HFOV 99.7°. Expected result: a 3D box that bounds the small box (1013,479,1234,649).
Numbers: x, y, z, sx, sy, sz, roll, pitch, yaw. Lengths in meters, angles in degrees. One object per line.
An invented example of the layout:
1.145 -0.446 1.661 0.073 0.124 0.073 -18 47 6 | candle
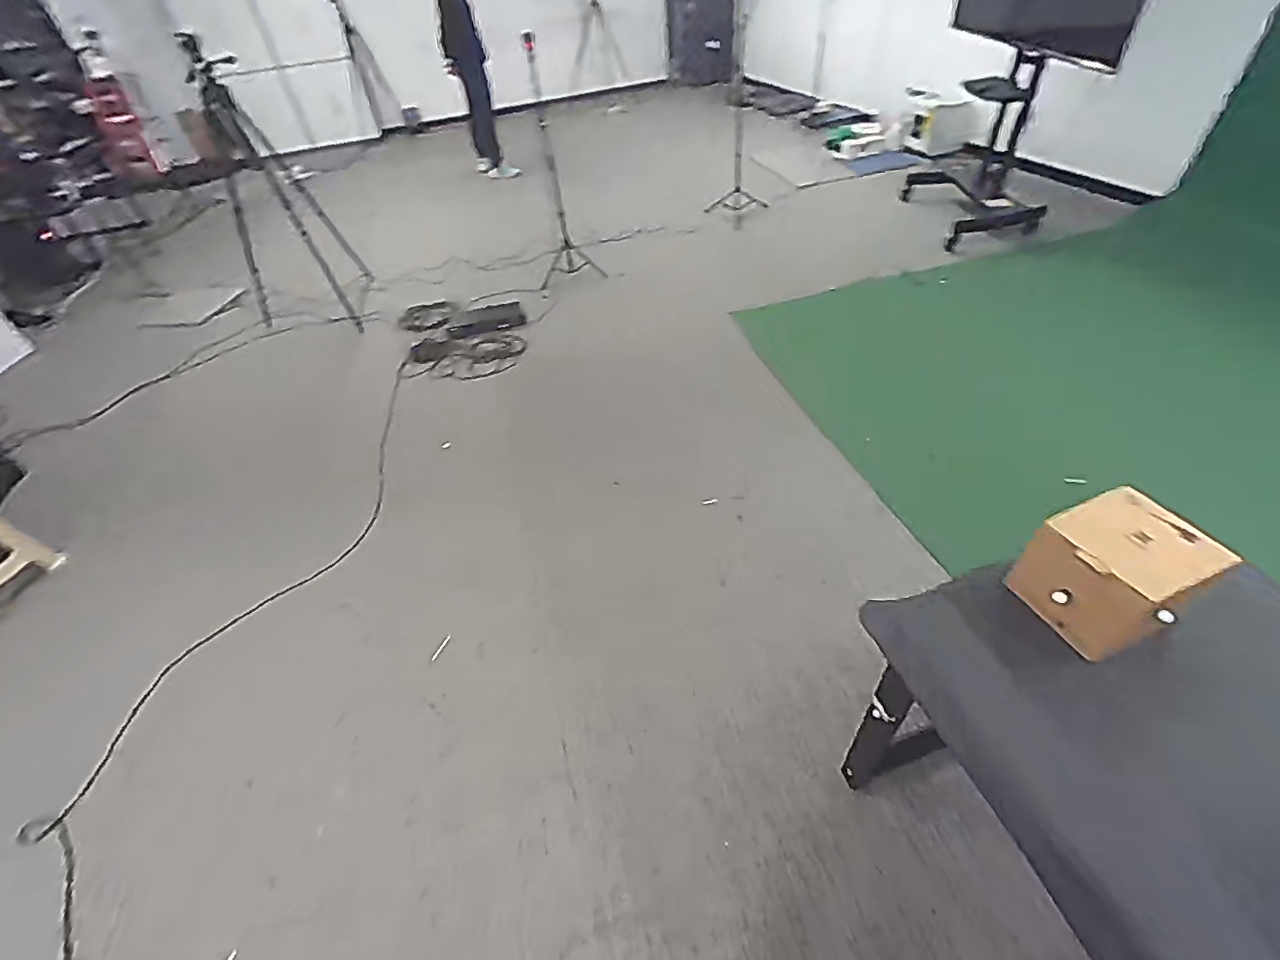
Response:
0.729 0.133 0.845 0.179 0.176 0.168 -20 46 -11 | small box
